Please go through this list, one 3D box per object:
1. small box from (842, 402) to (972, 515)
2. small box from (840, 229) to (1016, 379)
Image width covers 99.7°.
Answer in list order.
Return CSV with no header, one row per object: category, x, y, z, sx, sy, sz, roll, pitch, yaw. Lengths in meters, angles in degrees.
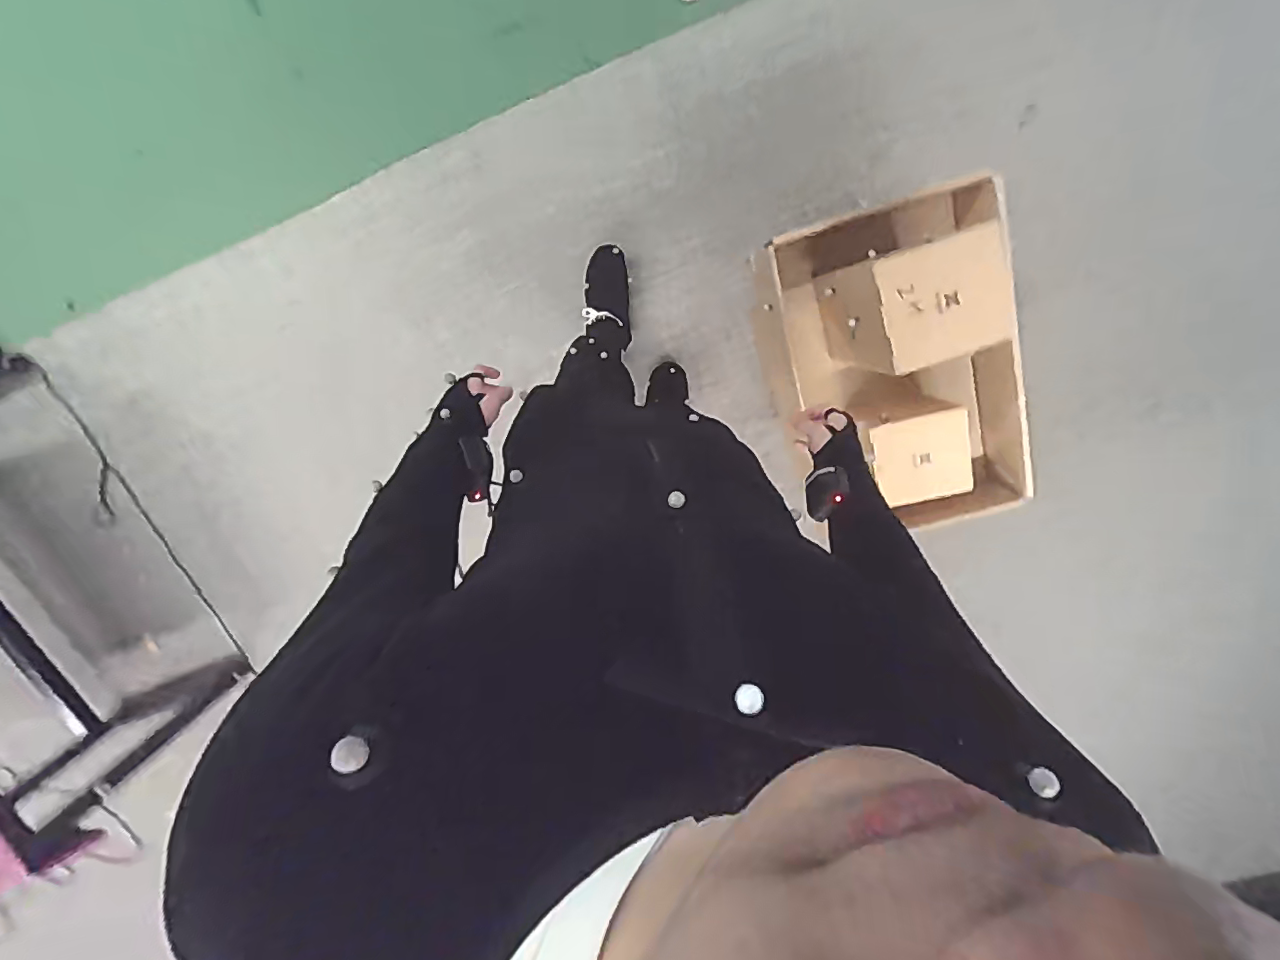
small box,0.526,-0.050,1.078,0.179,0.176,0.168,-13,106,6
small box,0.437,-0.268,0.842,0.179,0.176,0.168,-17,105,7
